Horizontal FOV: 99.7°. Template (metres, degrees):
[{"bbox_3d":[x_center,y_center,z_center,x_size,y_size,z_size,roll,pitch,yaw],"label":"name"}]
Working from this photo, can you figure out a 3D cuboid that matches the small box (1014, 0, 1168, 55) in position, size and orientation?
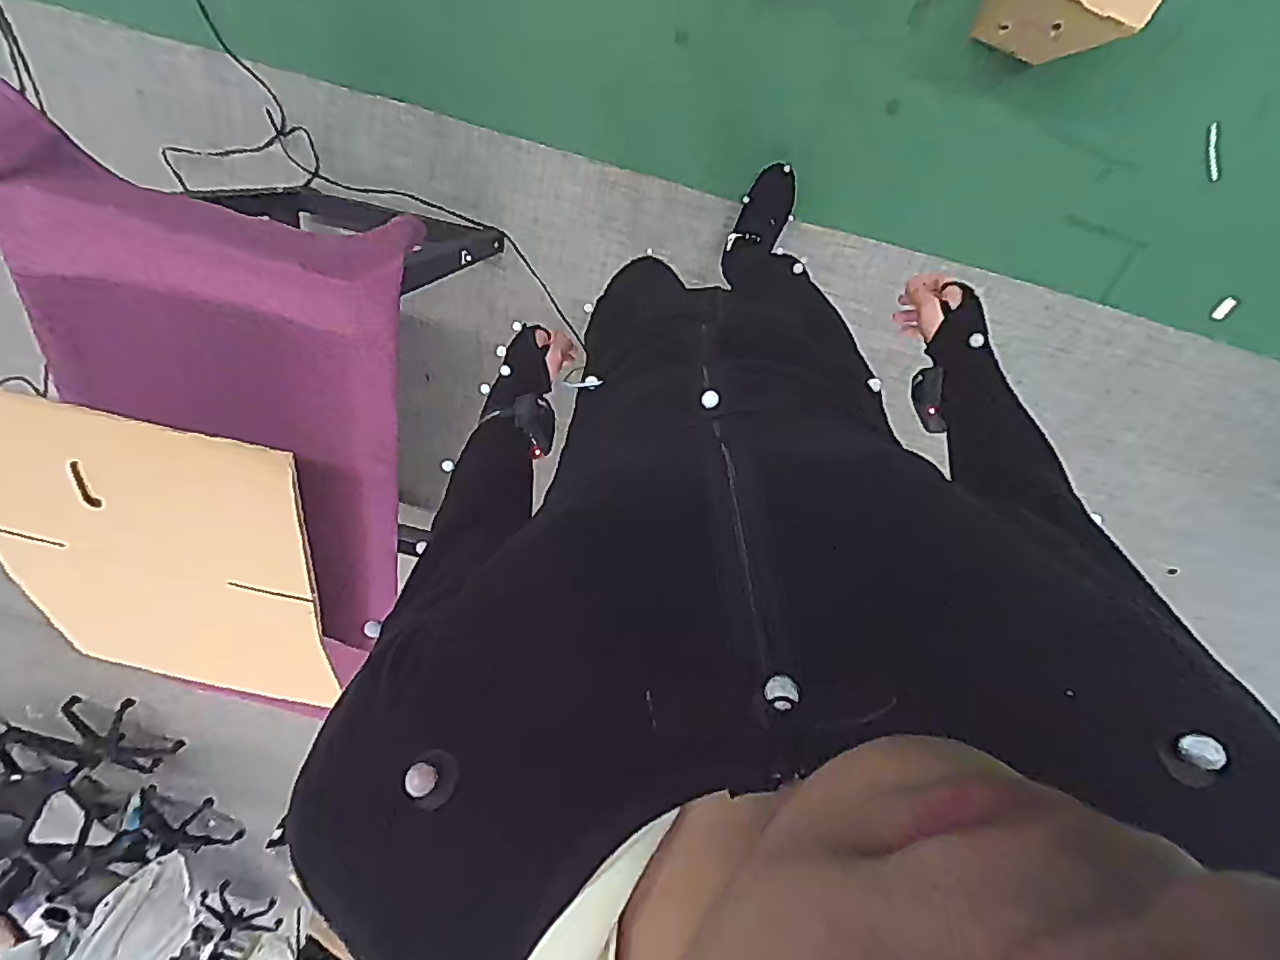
[{"bbox_3d":[0.767,-0.842,0.885,0.168,0.176,0.179,22,121,-4],"label":"small box"}]
